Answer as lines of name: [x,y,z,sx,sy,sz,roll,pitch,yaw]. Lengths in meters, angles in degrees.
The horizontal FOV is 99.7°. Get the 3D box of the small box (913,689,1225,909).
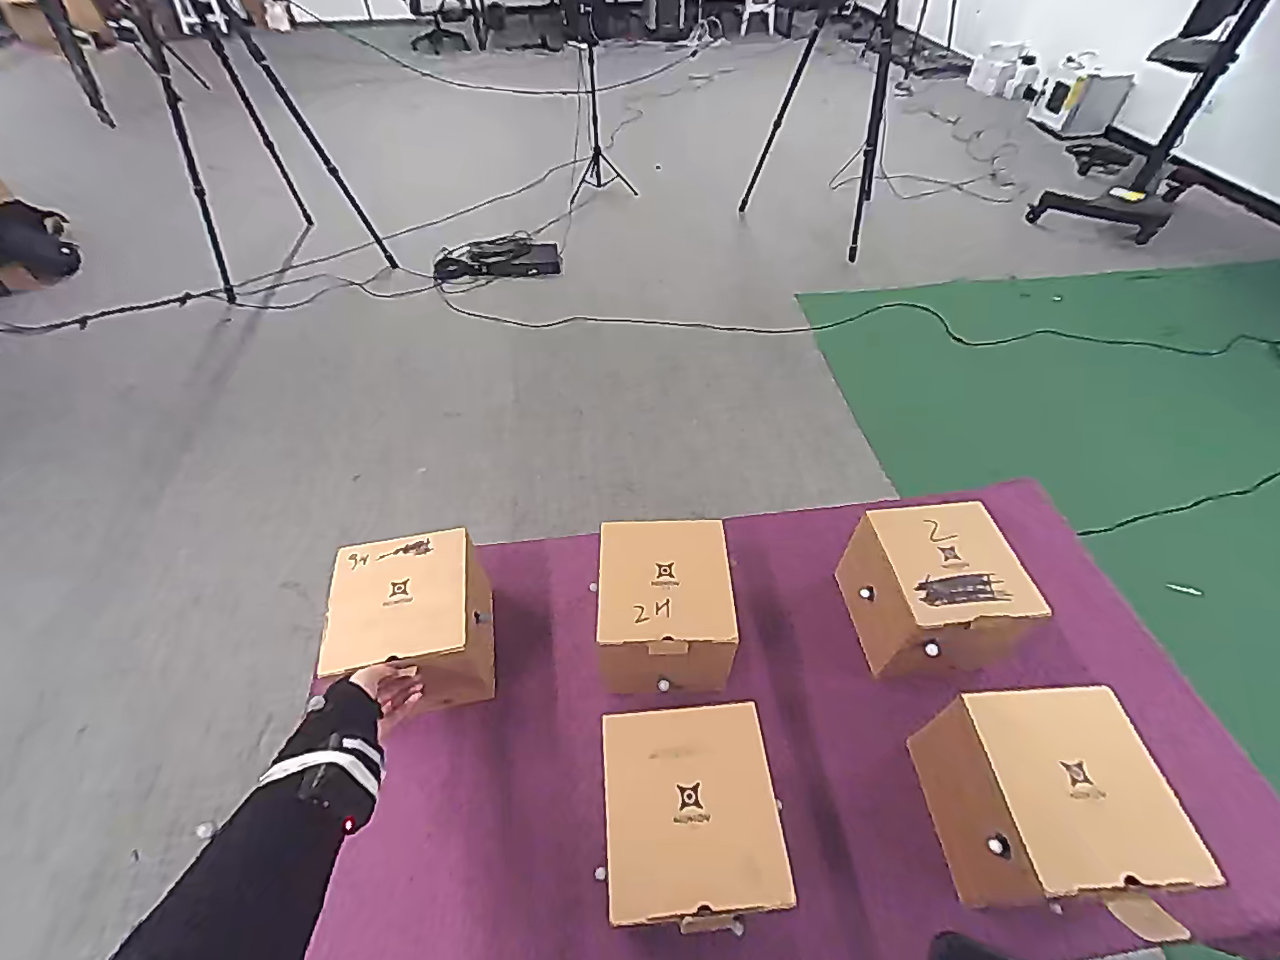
small box: [0.428,0.345,0.584,0.168,0.176,0.179,-3,50,-1]

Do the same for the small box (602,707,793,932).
small box: [0.049,0.364,0.578,0.168,0.176,0.179,-4,49,-3]

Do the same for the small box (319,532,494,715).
small box: [-0.295,0.198,0.725,0.168,0.176,0.179,-9,51,-7]

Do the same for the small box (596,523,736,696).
small box: [0.031,0.176,0.737,0.168,0.176,0.179,-1,50,1]
